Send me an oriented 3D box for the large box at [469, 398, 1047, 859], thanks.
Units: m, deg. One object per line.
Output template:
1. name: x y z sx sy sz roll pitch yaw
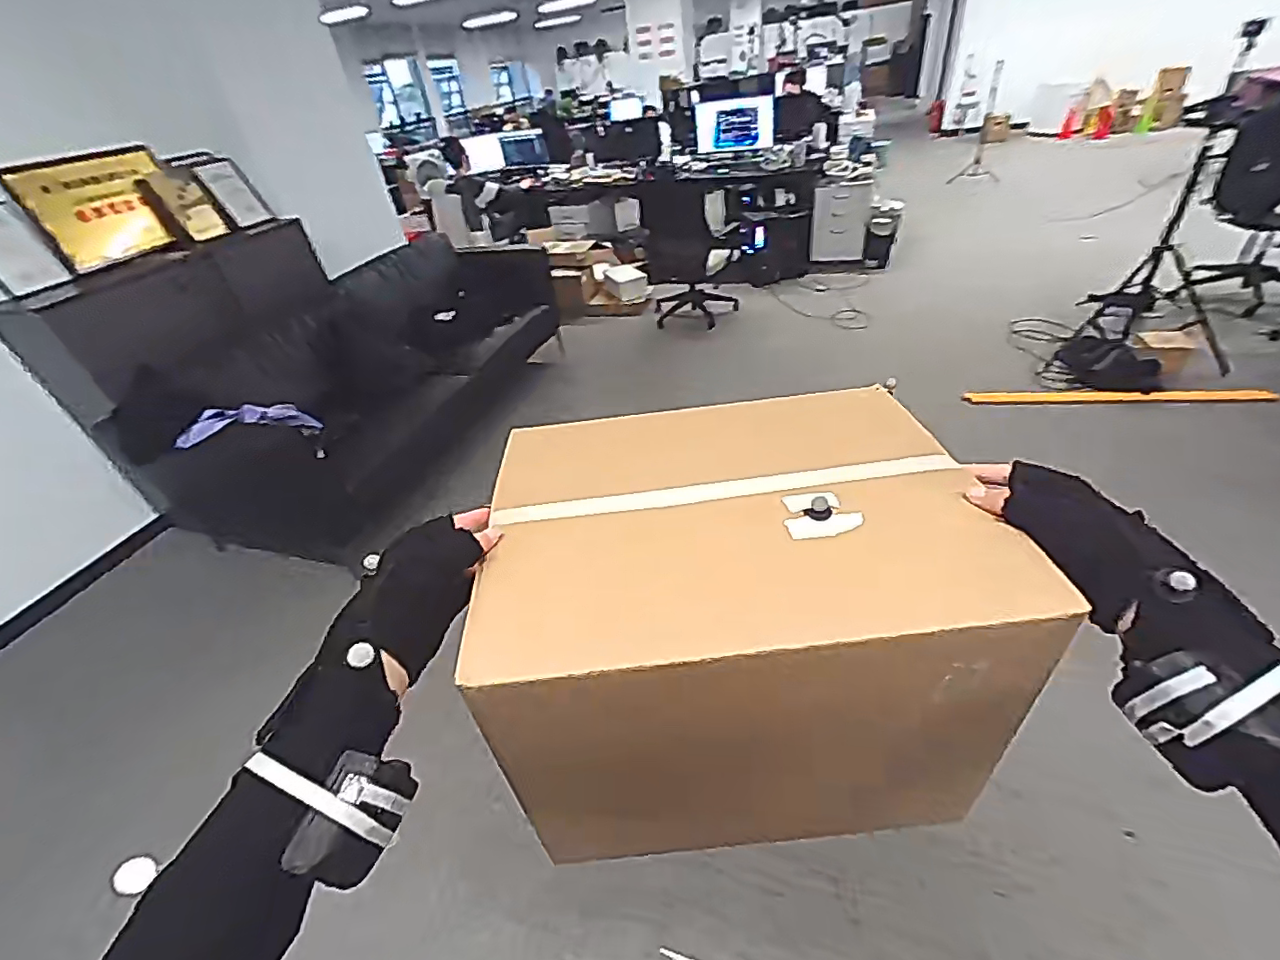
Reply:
1. large box: 0.081 0.140 0.565 0.408 0.320 0.320 -7 36 0
